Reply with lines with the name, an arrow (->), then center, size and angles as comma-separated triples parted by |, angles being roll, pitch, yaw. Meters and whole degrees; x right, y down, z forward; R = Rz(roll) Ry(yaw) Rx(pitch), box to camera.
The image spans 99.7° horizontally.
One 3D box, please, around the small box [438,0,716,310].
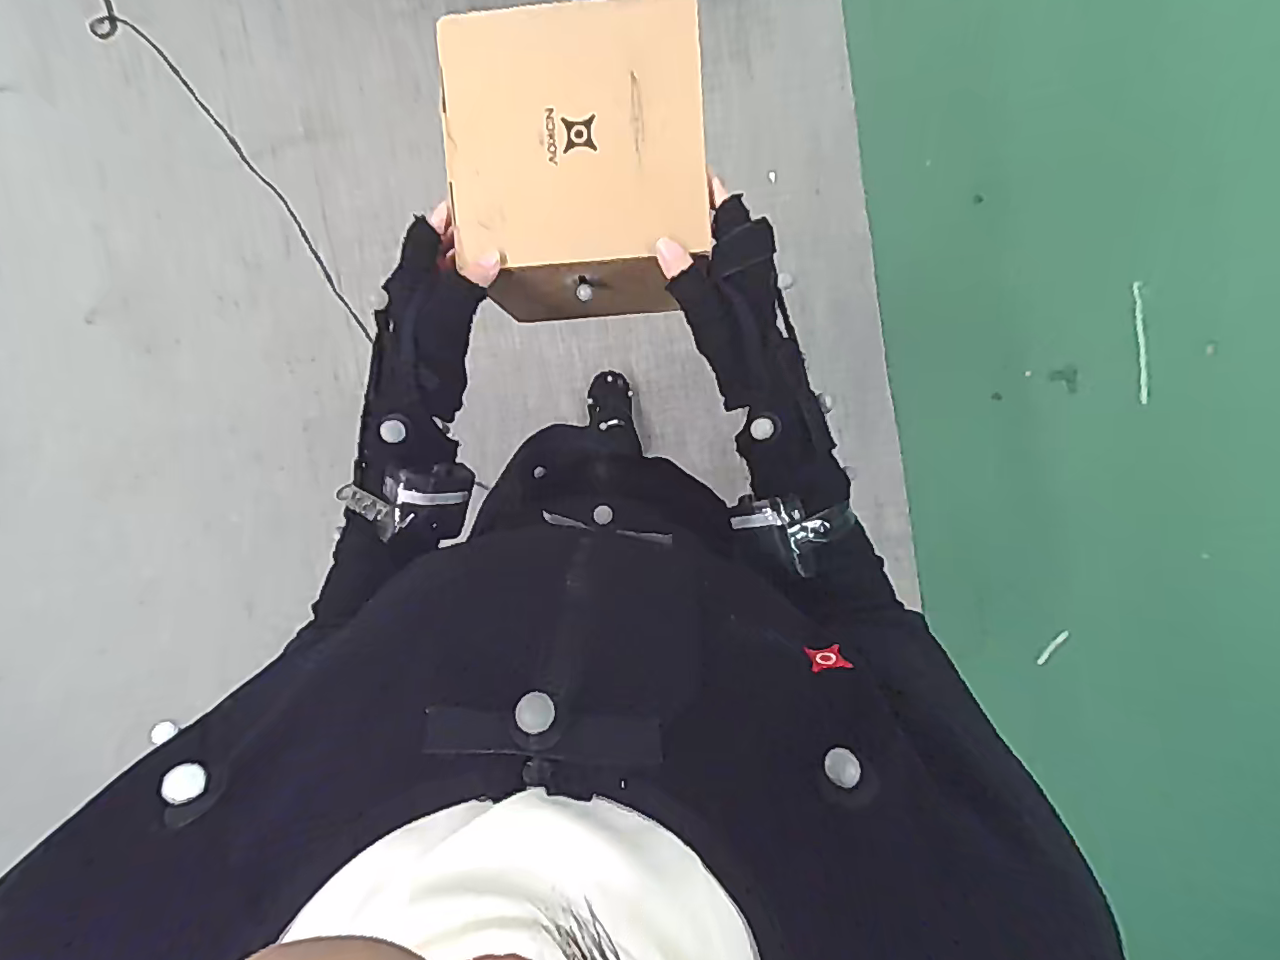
small box -> -0.037, -0.243, 0.436 | 0.179, 0.176, 0.168 | -5, 95, 3
